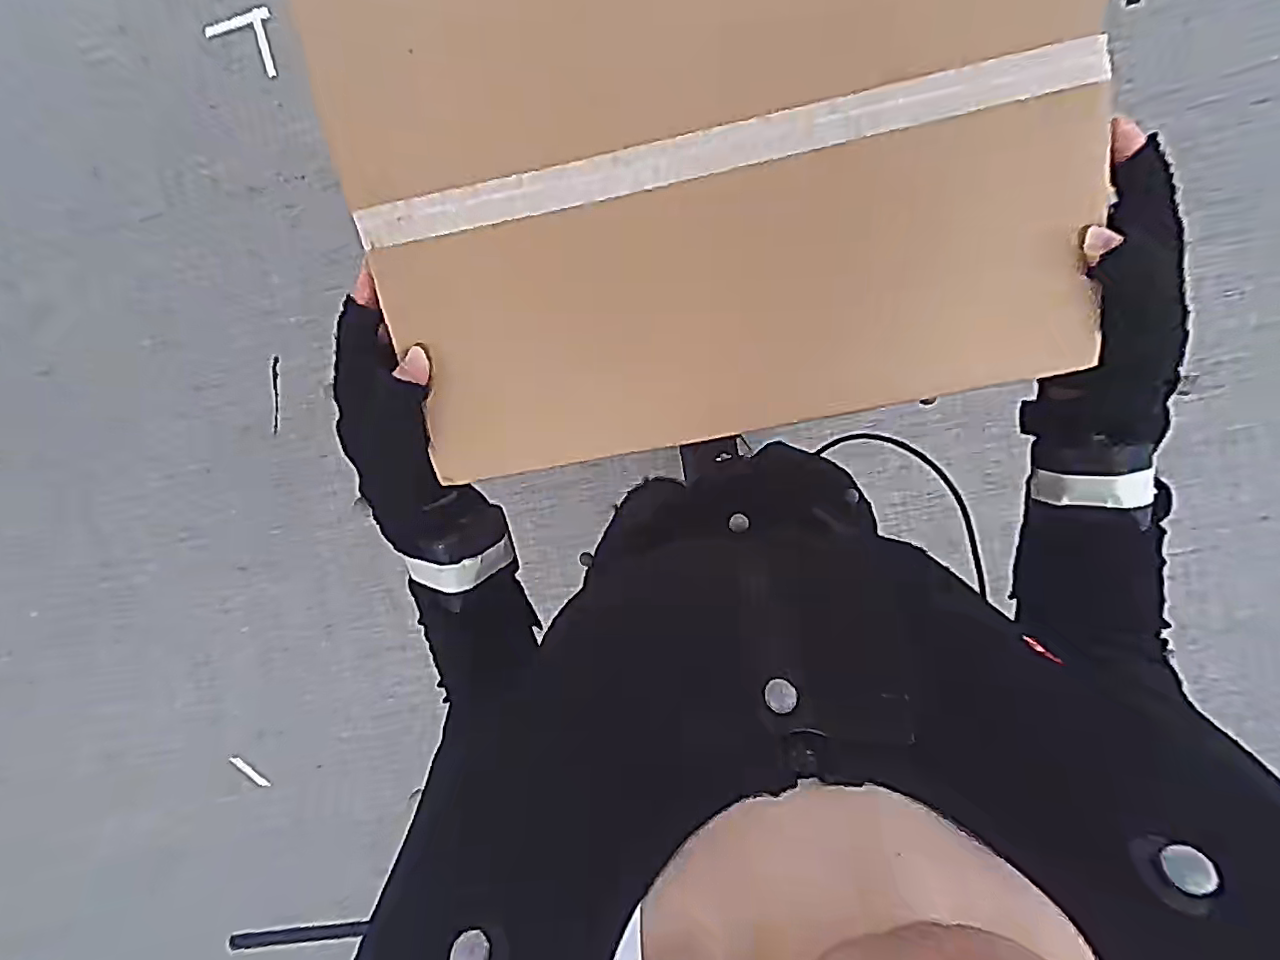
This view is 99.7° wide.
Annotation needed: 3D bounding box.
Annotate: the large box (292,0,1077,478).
[{"bbox_3d":[0.040,-0.225,0.444,0.408,0.320,0.320,-10,105,5],"label":"large box"}]
